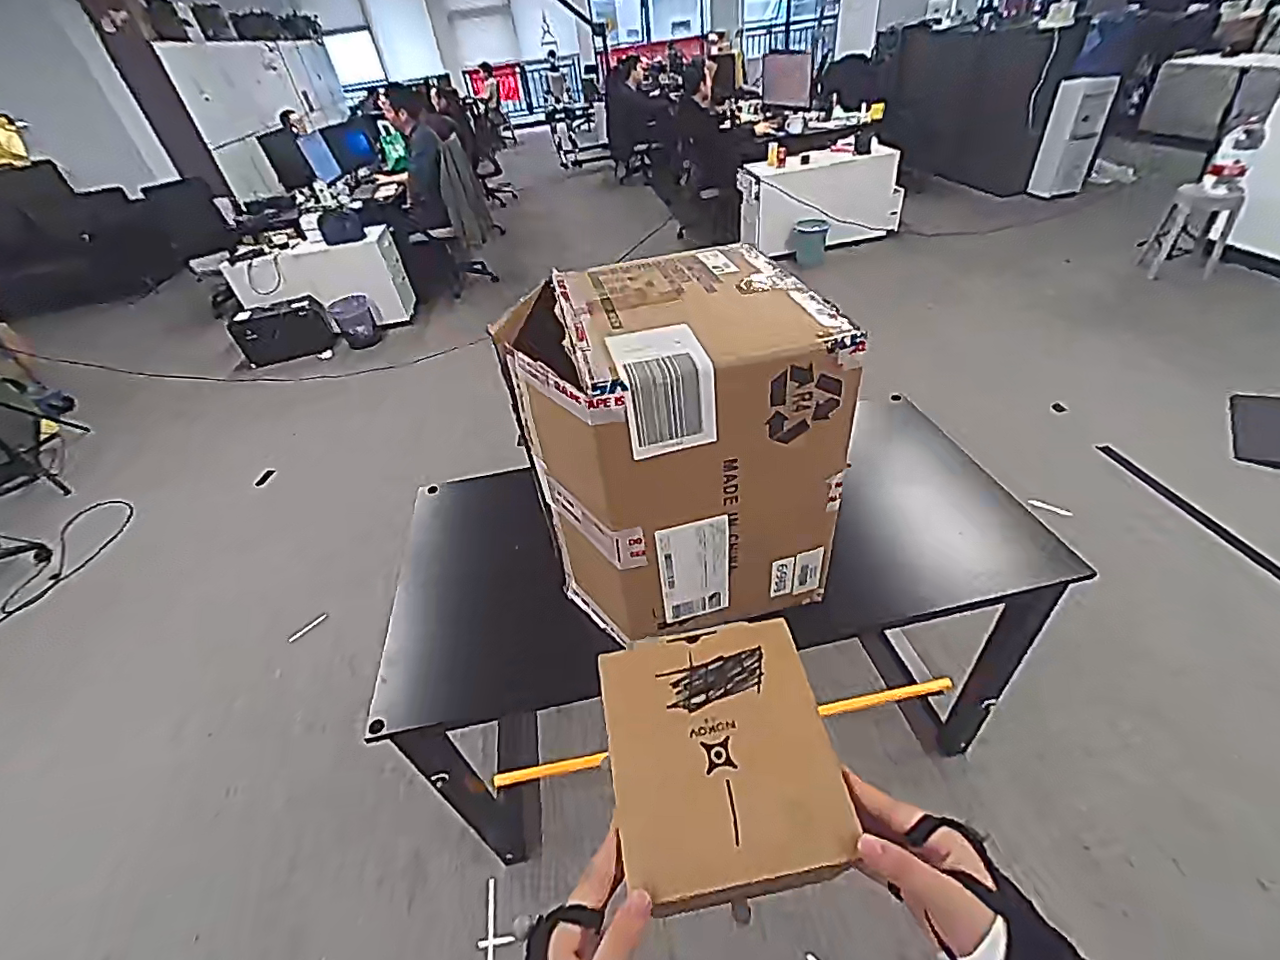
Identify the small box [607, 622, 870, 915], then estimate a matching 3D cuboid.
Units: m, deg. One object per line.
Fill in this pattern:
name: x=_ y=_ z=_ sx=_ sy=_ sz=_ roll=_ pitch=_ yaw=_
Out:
small box: x=0.070 y=0.254 z=0.473 sx=0.168 sy=0.176 sz=0.179 roll=-11 pitch=49 yaw=-1
